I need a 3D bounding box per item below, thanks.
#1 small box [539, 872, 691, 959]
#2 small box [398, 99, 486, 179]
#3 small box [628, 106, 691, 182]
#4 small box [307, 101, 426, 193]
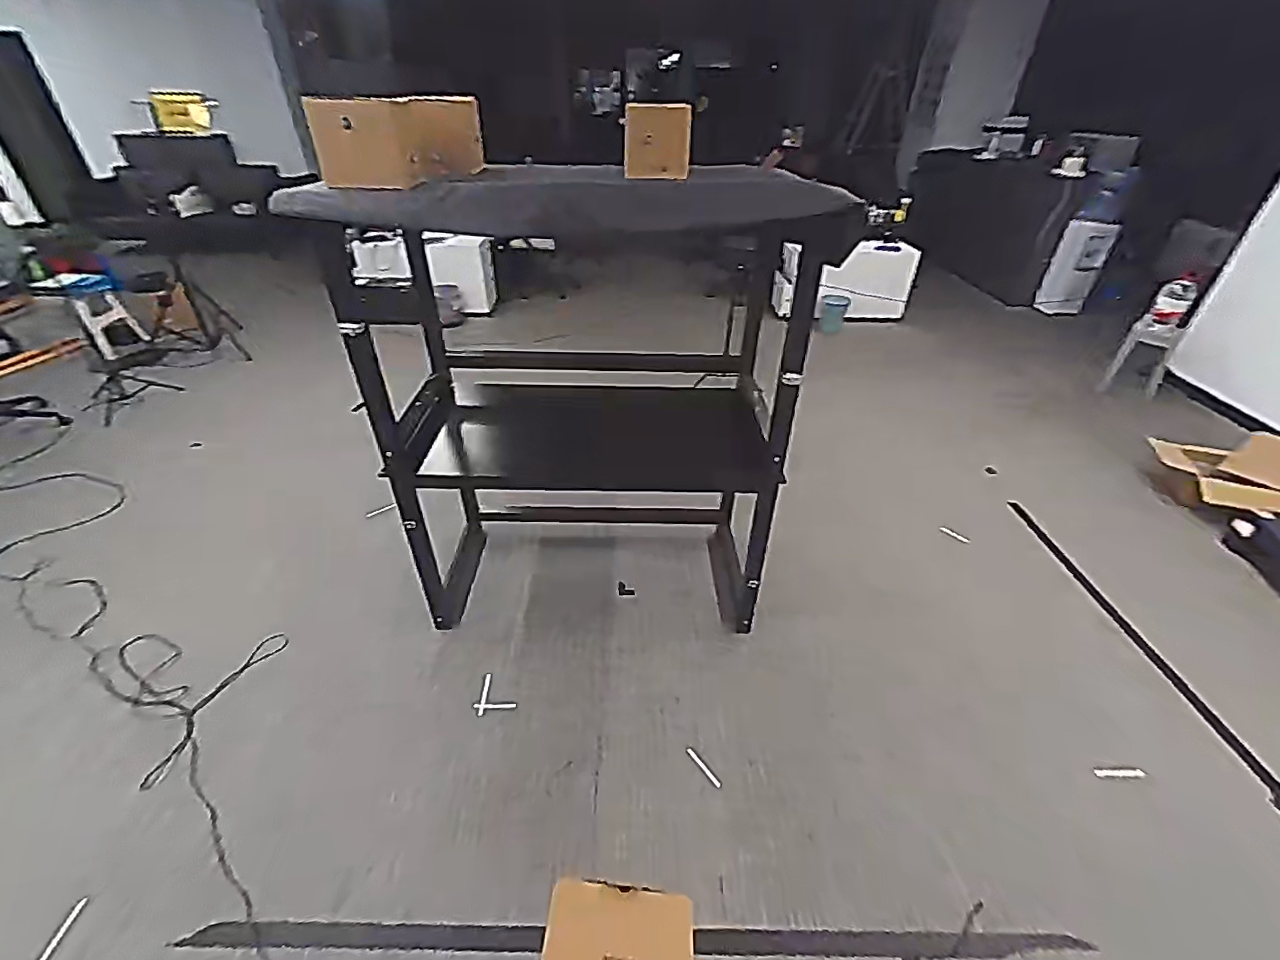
[{"bbox_3d":[-0.038,0.588,0.604,0.168,0.176,0.179,9,28,-1],"label":"small box"},{"bbox_3d":[-0.527,-0.923,1.466,0.179,0.176,0.168,0,36,-3],"label":"small box"},{"bbox_3d":[0.050,-0.923,1.485,0.168,0.176,0.179,0,36,-1],"label":"small box"},{"bbox_3d":[-0.610,-0.756,1.229,0.179,0.176,0.168,-1,35,-4],"label":"small box"}]
